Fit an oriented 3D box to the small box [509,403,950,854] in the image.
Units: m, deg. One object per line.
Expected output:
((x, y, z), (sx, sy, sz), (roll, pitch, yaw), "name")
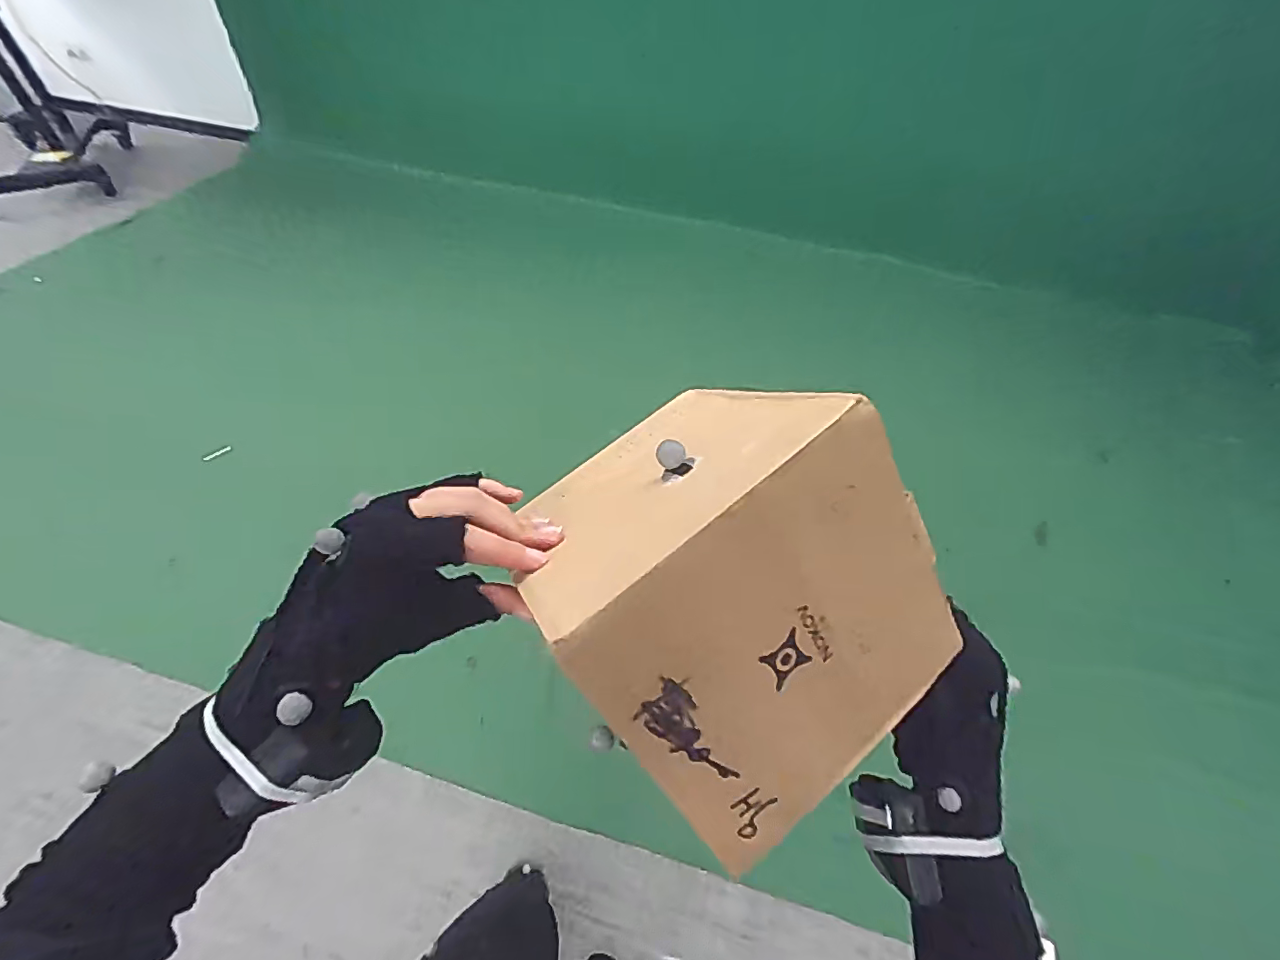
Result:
((0.044, 0.063, 0.336), (0.179, 0.168, 0.176), (-38, 22, -15), "small box")
